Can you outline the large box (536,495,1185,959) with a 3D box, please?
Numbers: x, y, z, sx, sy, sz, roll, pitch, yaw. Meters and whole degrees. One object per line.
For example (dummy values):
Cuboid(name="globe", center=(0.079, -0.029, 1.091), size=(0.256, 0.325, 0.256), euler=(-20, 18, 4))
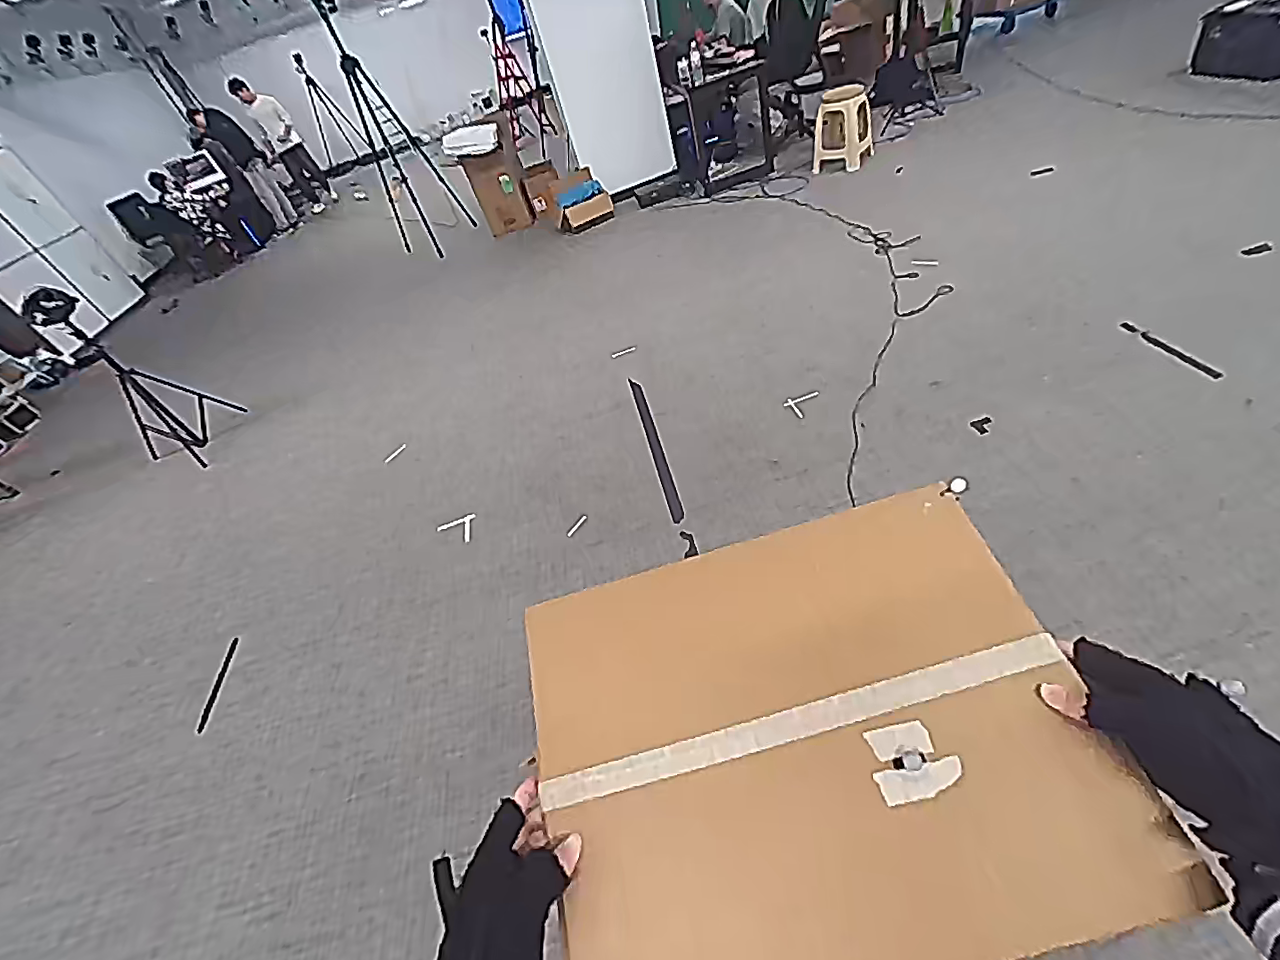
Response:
Cuboid(name="large box", center=(0.150, 0.274, 0.550), size=(0.408, 0.320, 0.320), euler=(-18, 56, 2))
